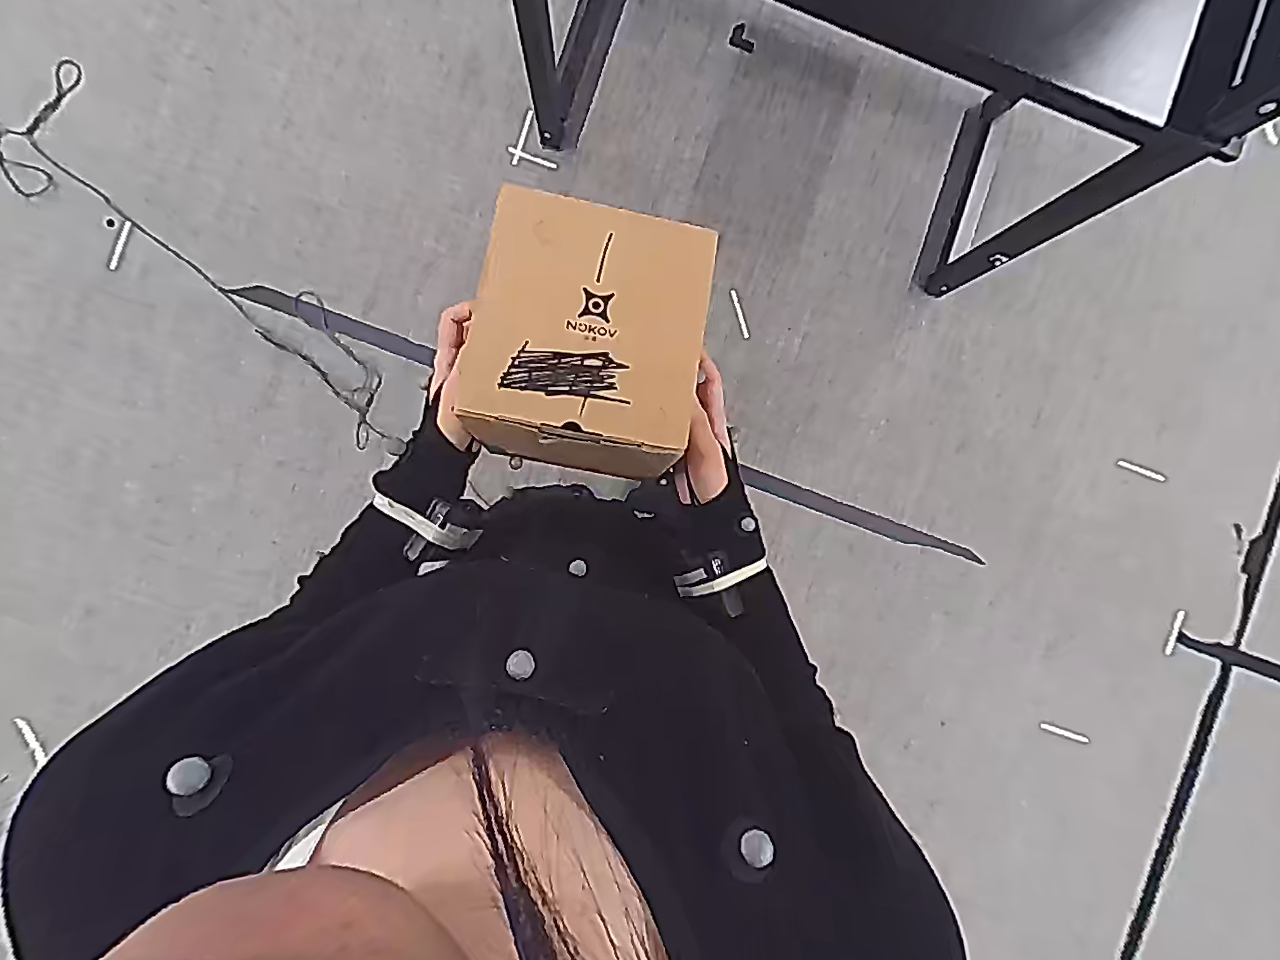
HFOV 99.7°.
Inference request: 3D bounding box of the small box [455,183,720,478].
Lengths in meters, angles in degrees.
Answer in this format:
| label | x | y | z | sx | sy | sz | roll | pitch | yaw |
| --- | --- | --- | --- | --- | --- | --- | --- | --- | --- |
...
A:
| label | x | y | z | sx | sy | sz | roll | pitch | yaw |
| --- | --- | --- | --- | --- | --- | --- | --- | --- | --- |
| small box | -0.042 | -0.106 | 0.464 | 0.168 | 0.176 | 0.179 | 11 | 81 | -6 |
